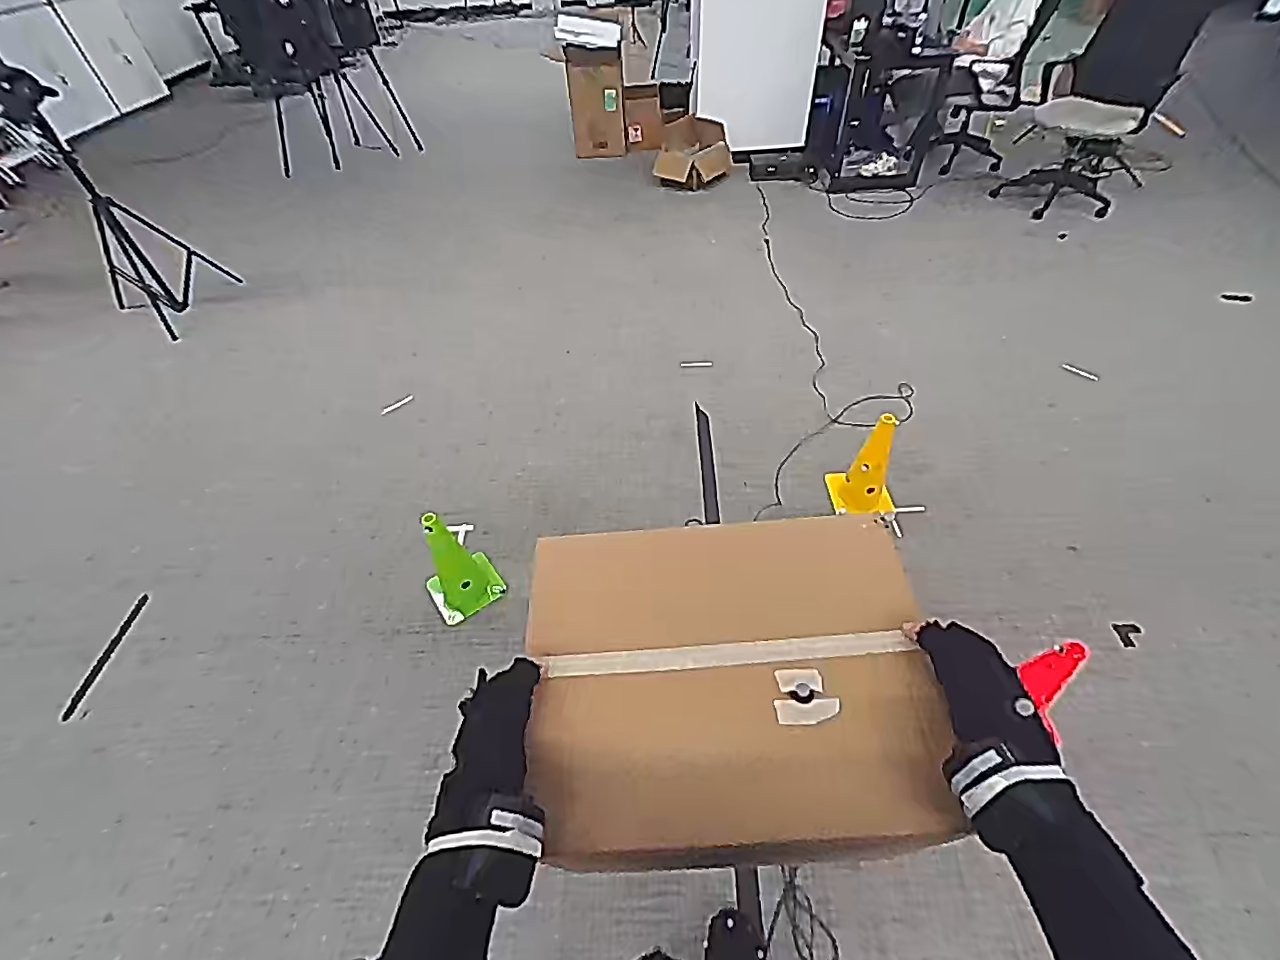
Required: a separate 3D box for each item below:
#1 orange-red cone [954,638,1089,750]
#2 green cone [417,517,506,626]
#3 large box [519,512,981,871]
[{"bbox_3d":[0.922,0.465,1.254,0.198,0.360,0.199,-3,46,0],"label":"orange-red cone"},{"bbox_3d":[-0.561,0.228,1.584,0.202,0.368,0.200,-32,52,-21],"label":"green cone"},{"bbox_3d":[0.093,0.267,0.664,0.408,0.320,0.320,-5,51,2],"label":"large box"}]
